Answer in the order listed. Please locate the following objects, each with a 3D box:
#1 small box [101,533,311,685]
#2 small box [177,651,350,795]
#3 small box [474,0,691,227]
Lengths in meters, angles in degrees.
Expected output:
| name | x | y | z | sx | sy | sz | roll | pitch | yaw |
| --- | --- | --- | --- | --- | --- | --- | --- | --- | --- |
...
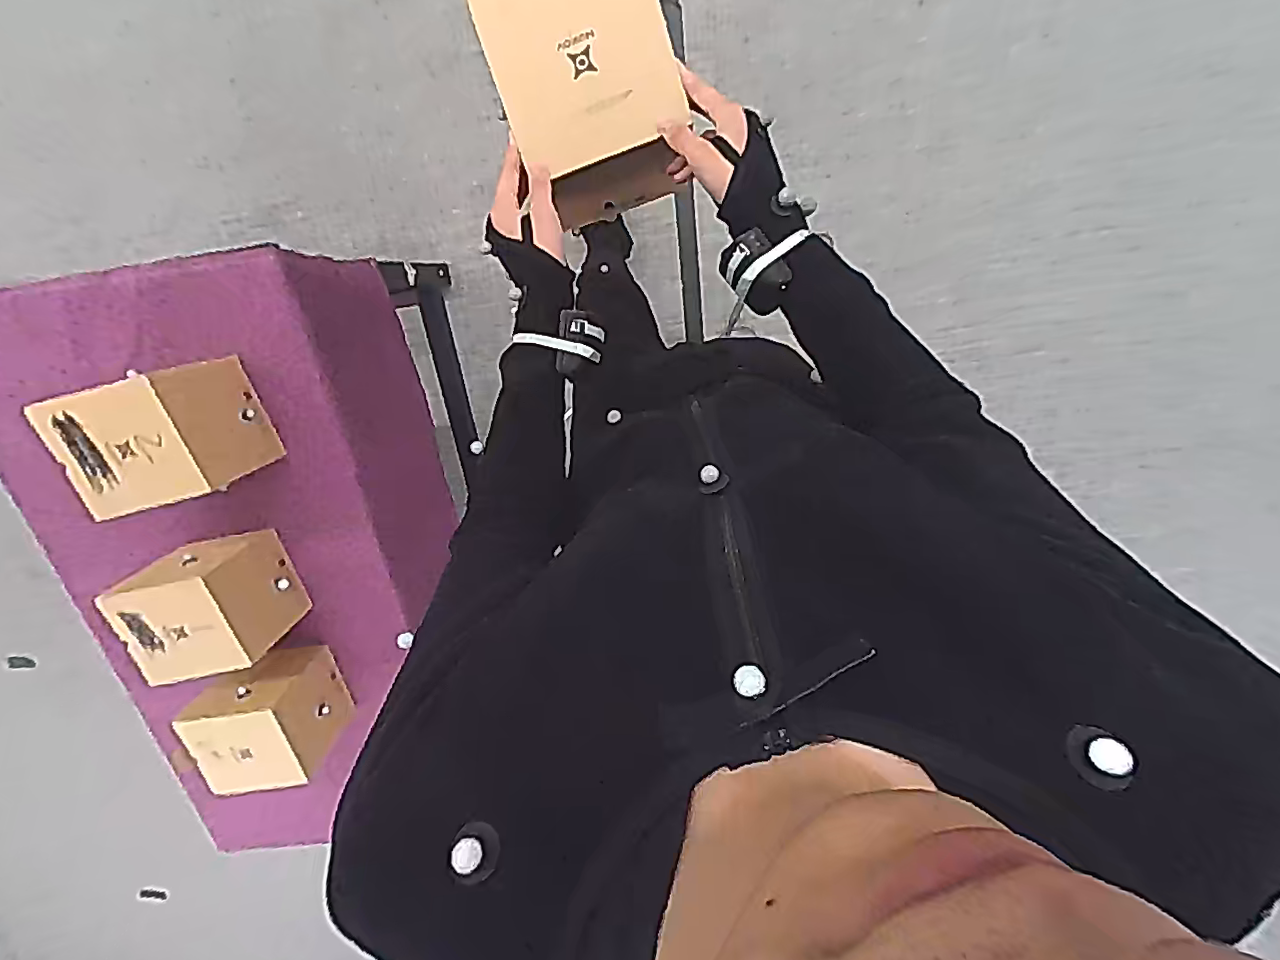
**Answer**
| name | x | y | z | sx | sy | sz | roll | pitch | yaw |
| --- | --- | --- | --- | --- | --- | --- | --- | --- | --- |
| small box | -0.698 | 0.206 | 0.894 | 0.179 | 0.176 | 0.168 | -12 | 110 | 5 |
| small box | -0.658 | 0.429 | 0.977 | 0.179 | 0.176 | 0.168 | -8 | 110 | 4 |
| small box | -0.051 | -0.406 | 0.580 | 0.168 | 0.176 | 0.179 | -17 | 98 | 5 |
